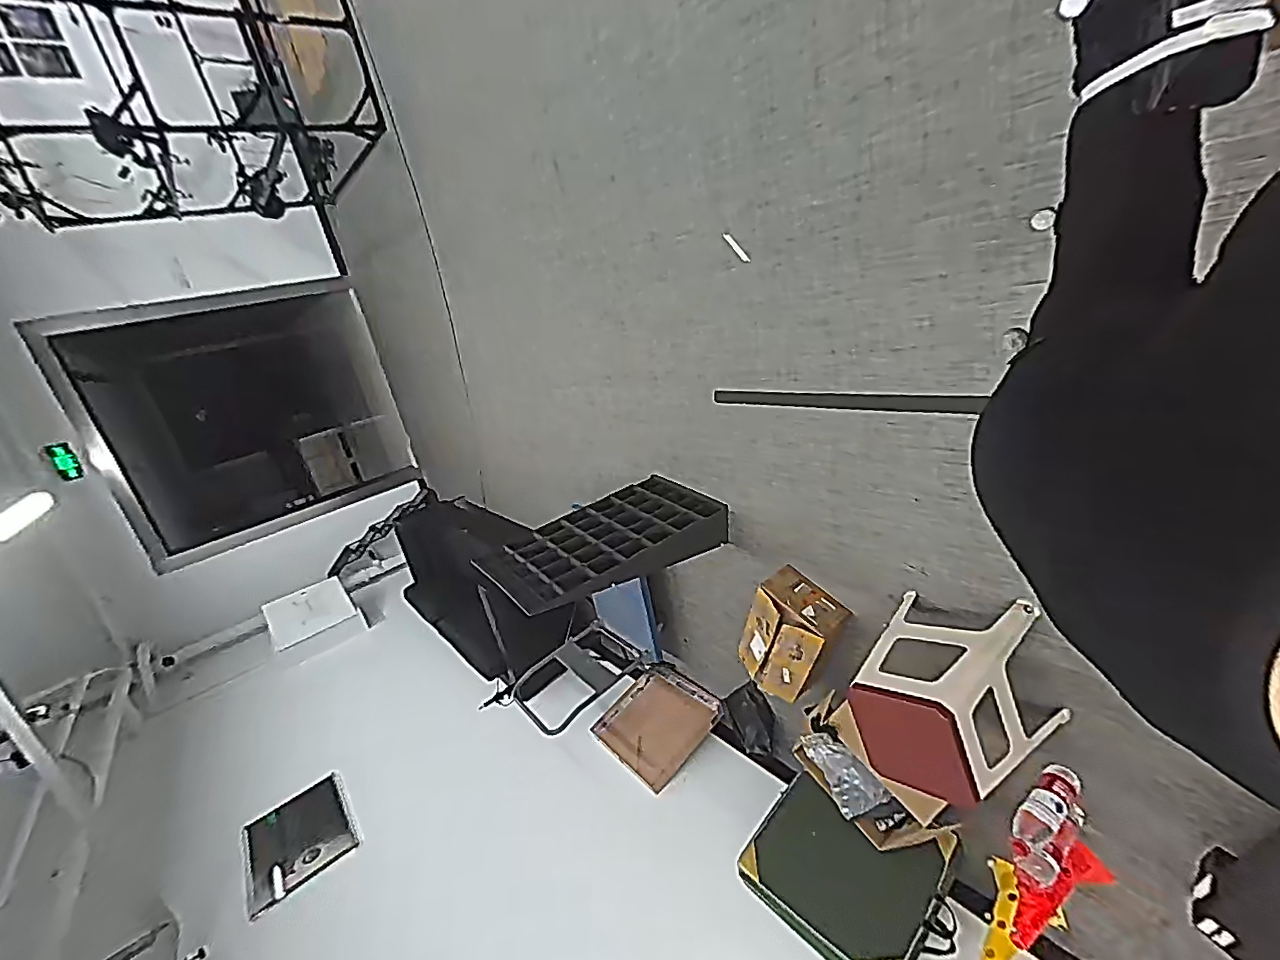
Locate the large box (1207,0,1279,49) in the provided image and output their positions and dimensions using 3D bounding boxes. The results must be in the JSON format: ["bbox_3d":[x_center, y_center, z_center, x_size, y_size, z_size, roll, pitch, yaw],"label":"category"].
[{"bbox_3d":[0.561,-0.481,0.237,0.408,0.320,0.320,10,118,51],"label":"large box"}]
